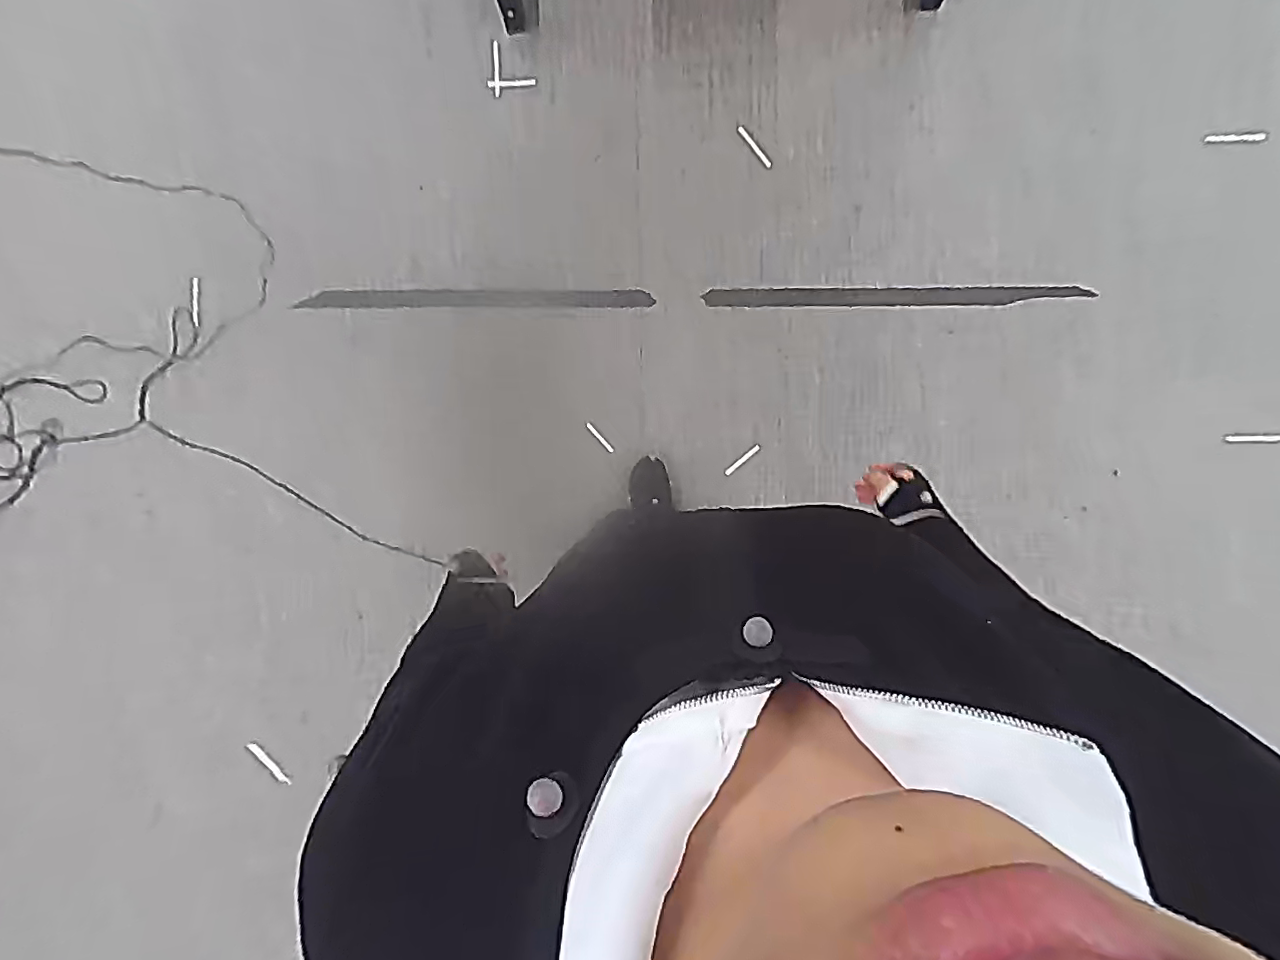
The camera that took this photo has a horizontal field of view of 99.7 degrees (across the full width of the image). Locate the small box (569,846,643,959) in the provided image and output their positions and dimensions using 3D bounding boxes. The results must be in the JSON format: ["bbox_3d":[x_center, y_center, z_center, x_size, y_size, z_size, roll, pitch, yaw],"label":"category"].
[{"bbox_3d":[-0.079,1.033,1.323,0.168,0.176,0.179,-2,90,3],"label":"small box"}]
